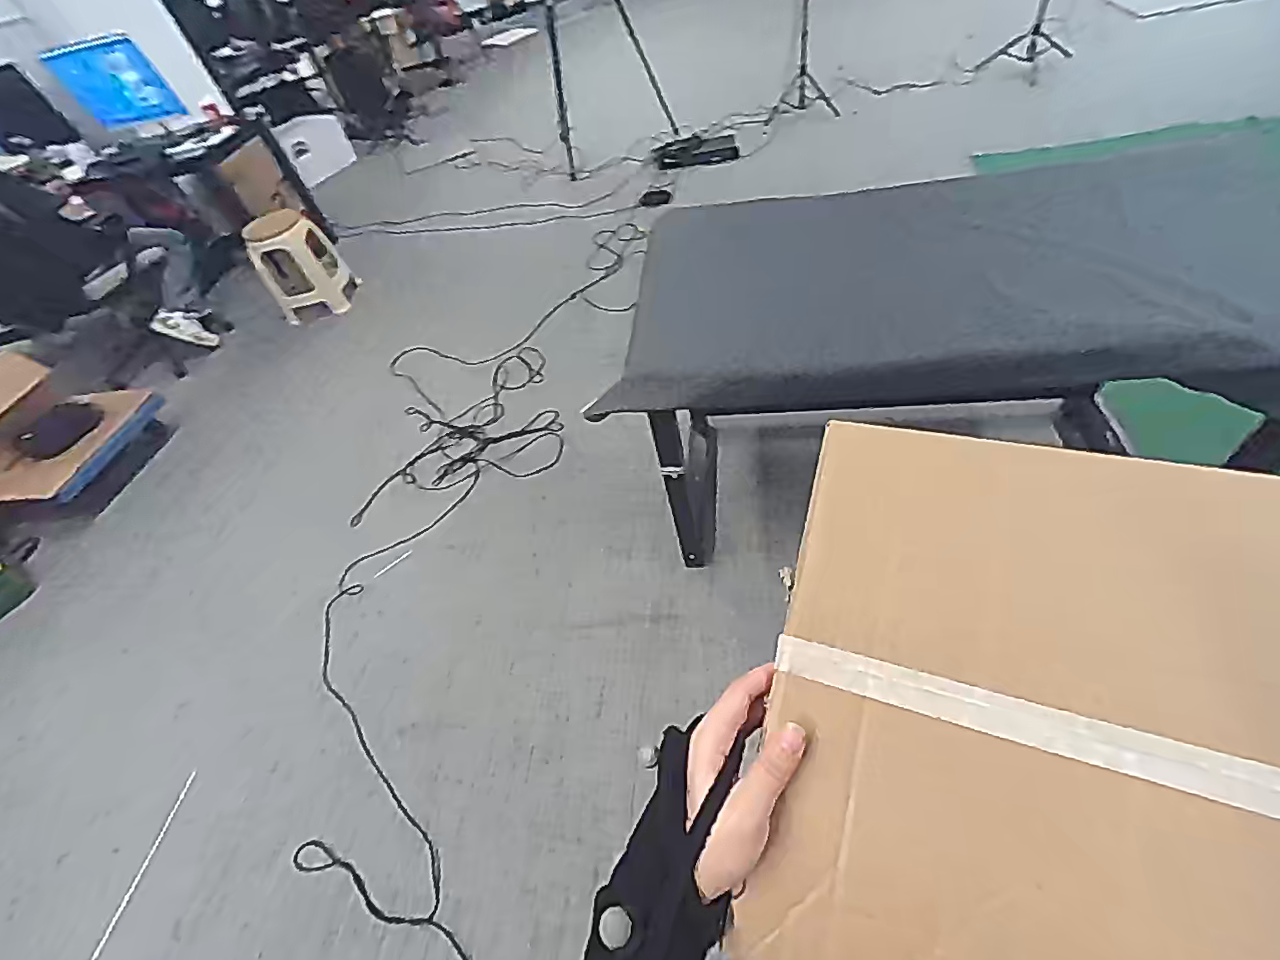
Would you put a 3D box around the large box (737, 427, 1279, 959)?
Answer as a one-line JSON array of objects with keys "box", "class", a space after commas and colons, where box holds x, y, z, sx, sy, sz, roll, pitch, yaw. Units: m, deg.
[{"box": [0.309, 0.187, 0.398, 0.408, 0.320, 0.320, 10, 72, 20], "class": "large box"}]
